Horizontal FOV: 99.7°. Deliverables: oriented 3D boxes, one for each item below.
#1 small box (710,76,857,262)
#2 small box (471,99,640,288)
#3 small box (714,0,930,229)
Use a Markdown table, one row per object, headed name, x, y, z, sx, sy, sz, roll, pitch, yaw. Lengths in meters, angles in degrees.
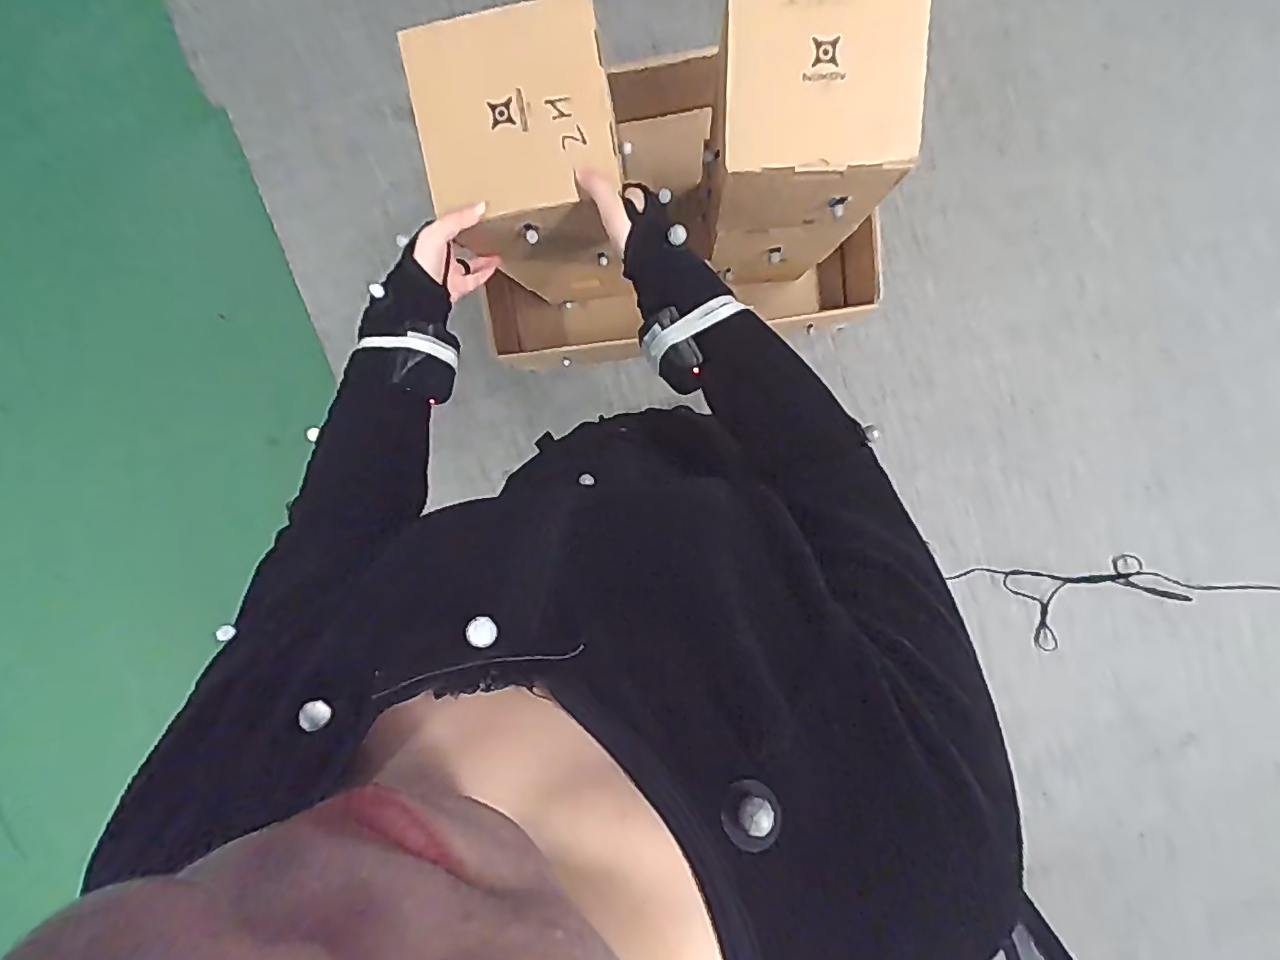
| name | x | y | z | sx | sy | sz | roll | pitch | yaw |
| --- | --- | --- | --- | --- | --- | --- | --- | --- | --- |
| small box | 0.177 | -0.385 | 0.693 | 0.168 | 0.176 | 0.179 | 1 | 100 | 5 |
| small box | -0.101 | -0.365 | 0.725 | 0.179 | 0.176 | 0.168 | -7 | 99 | 5 |
| small box | 0.162 | -0.359 | 0.532 | 0.168 | 0.176 | 0.179 | 1 | 98 | 4 |
